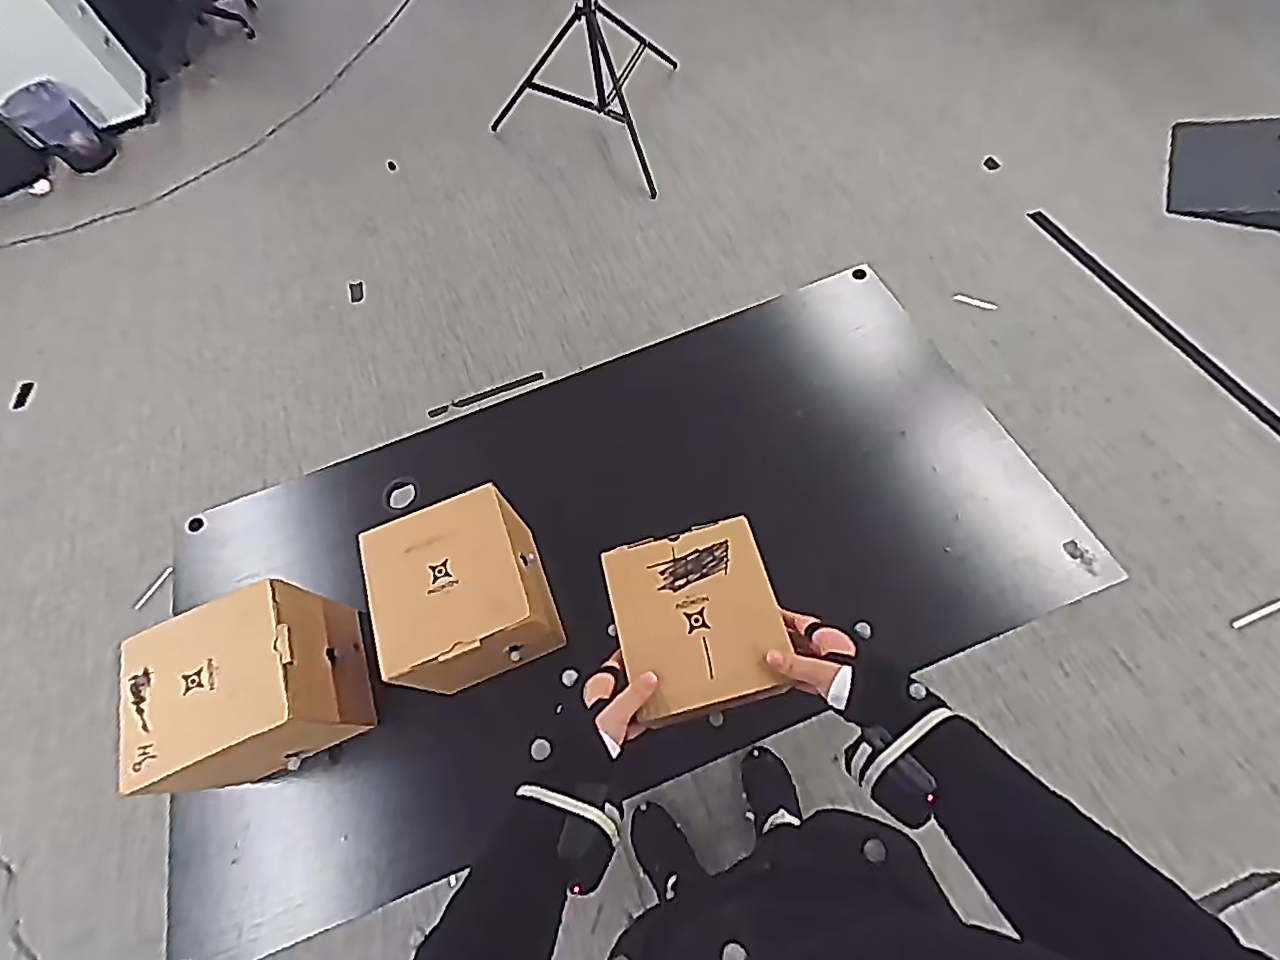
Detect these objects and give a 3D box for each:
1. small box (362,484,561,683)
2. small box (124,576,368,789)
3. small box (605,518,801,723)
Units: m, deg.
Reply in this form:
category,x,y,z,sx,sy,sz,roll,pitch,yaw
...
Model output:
category,x,y,z,sx,sy,sz,roll,pitch,yaw
small box,-0.210,0.138,0.669,0.168,0.176,0.179,-22,63,-6
small box,-0.450,0.240,0.643,0.179,0.176,0.168,-23,64,-6
small box,0.065,0.168,0.622,0.168,0.176,0.179,-14,64,-1
